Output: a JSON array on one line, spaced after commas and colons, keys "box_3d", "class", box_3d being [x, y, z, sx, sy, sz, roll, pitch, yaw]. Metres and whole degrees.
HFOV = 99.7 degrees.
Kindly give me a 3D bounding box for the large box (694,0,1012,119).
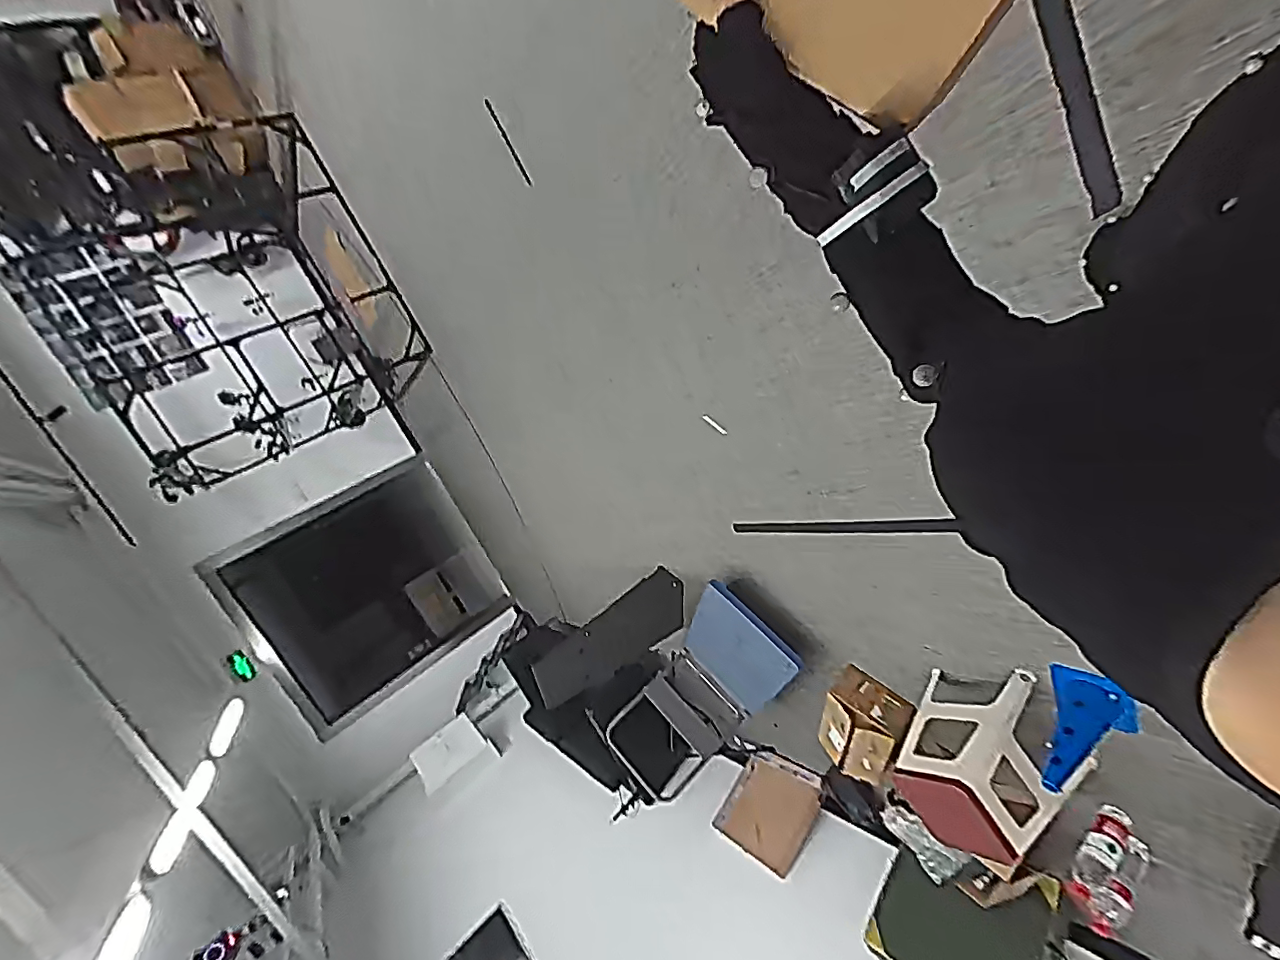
[{"box_3d": [0.209, -0.547, 0.368, 0.320, 0.320, 0.408, 36, 137, 5], "class": "large box"}]
